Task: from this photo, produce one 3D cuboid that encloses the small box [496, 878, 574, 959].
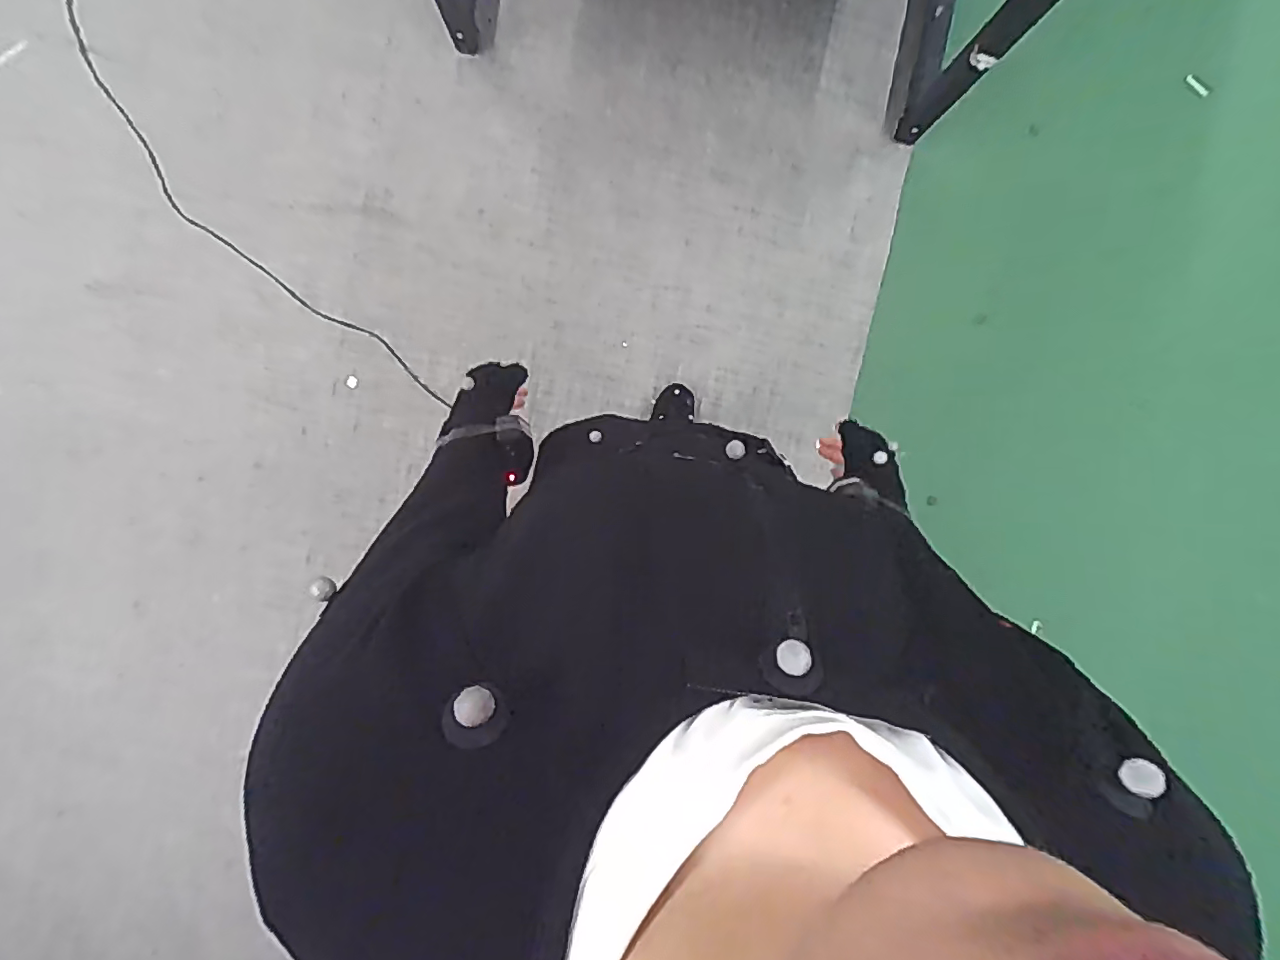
[{"bbox_3d":[-0.276,1.199,1.436,0.179,0.176,0.168,3,97,-1],"label":"small box"}]
